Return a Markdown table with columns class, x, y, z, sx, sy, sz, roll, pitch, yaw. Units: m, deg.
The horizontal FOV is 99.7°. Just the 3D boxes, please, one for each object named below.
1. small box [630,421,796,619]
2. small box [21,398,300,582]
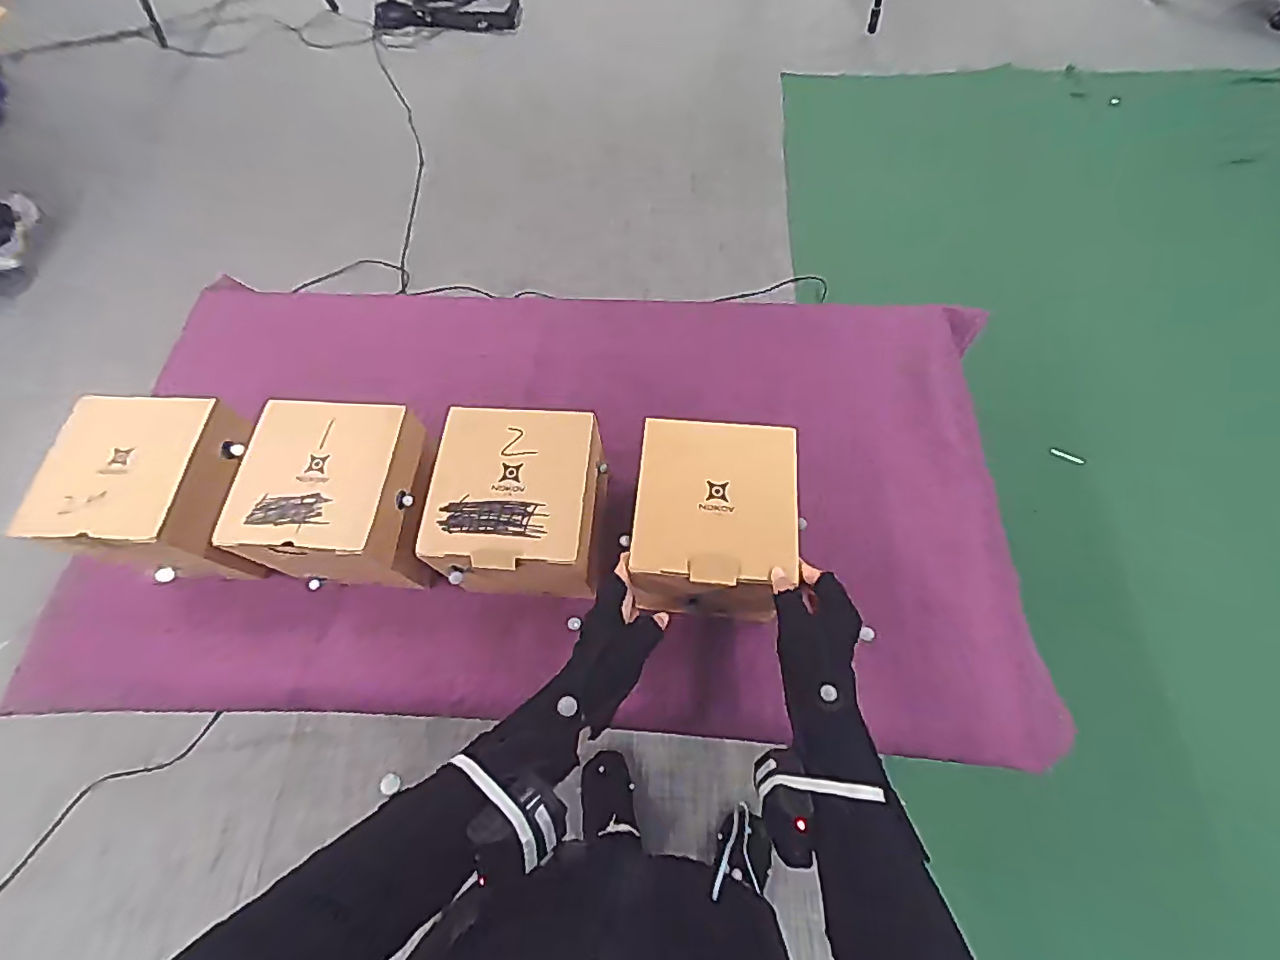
| class | x | y | z | sx | sy | sz | roll | pitch | yaw |
| --- | --- | --- | --- | --- | --- | --- | --- | --- | --- |
| small box | 0.081 | 0.053 | 0.634 | 0.168 | 0.176 | 0.179 | 5 | 65 | 4 |
| small box | -0.567 | 0.017 | 0.674 | 0.168 | 0.176 | 0.179 | 2 | 66 | 4 |
